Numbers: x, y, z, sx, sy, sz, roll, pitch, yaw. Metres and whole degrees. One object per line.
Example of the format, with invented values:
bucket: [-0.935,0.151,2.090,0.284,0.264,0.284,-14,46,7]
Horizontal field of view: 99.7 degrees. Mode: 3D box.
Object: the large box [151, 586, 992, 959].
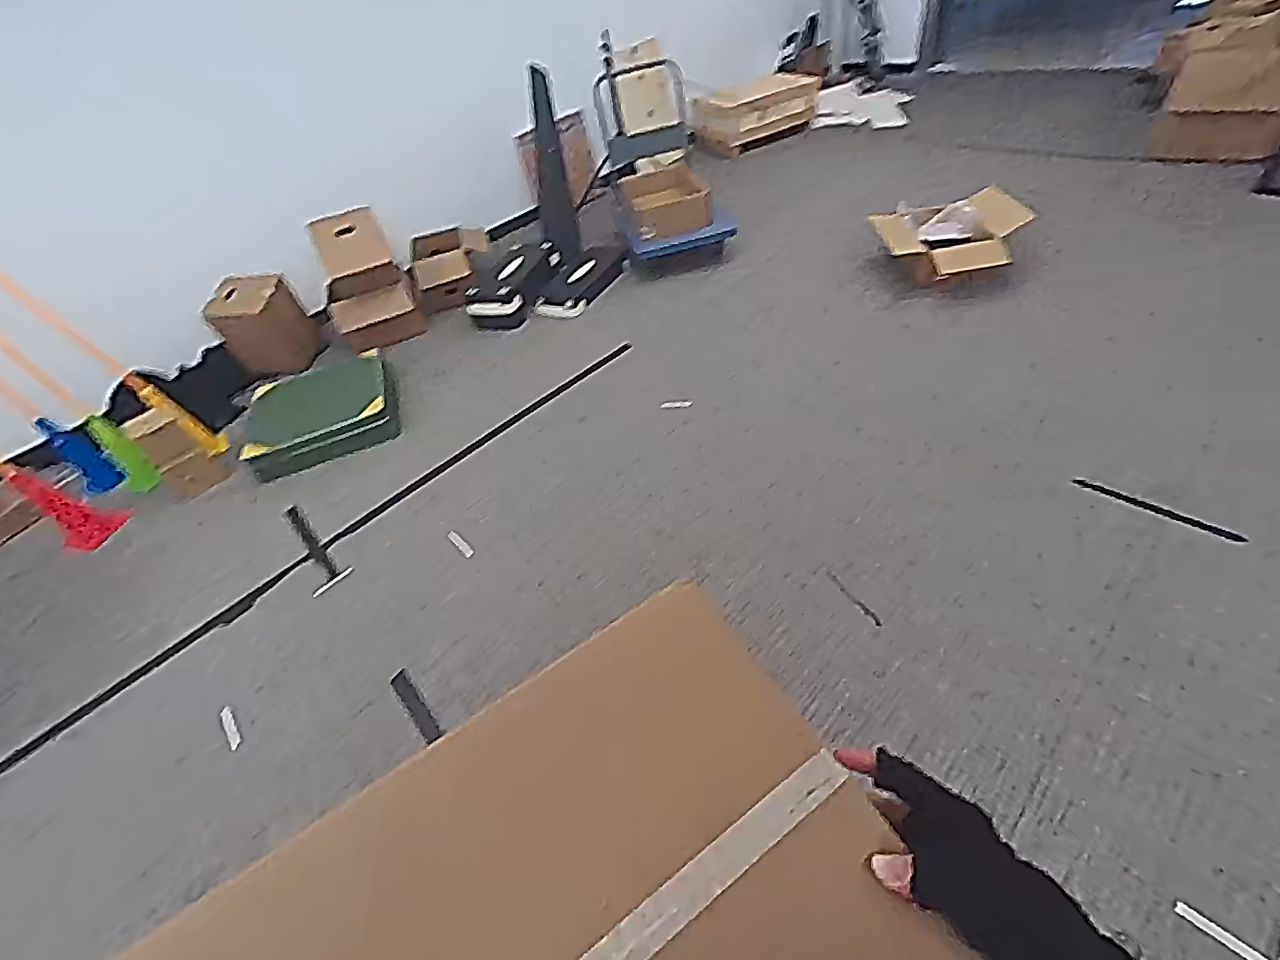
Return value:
large box: [-0.034,0.364,0.414,0.408,0.320,0.320,-31,61,-17]
